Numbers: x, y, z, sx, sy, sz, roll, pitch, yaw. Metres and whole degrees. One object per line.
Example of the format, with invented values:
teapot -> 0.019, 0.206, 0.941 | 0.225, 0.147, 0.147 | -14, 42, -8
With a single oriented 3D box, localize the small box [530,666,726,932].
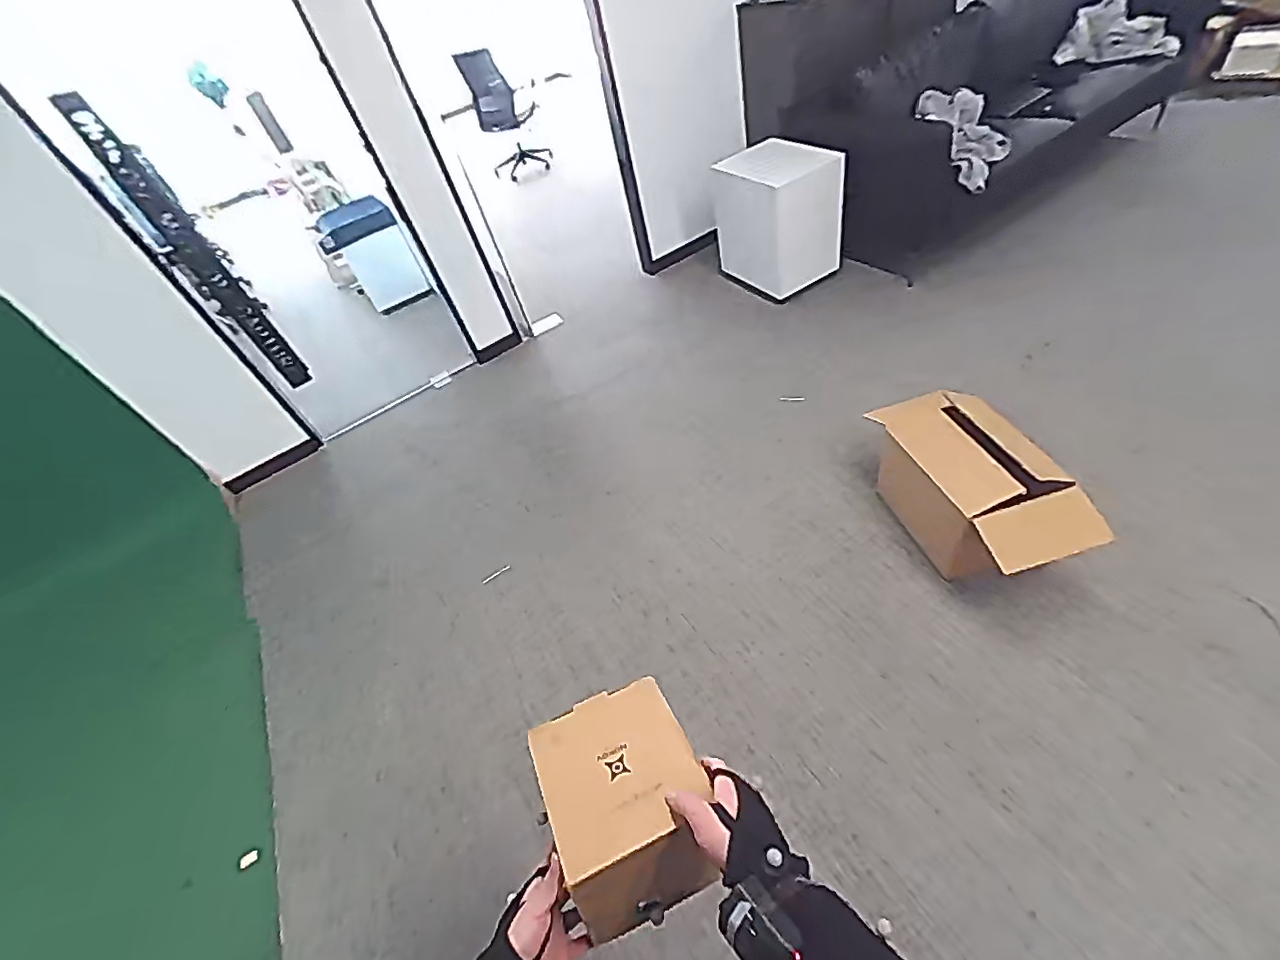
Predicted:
small box -> -0.014, 0.358, 0.620 | 0.168, 0.176, 0.179 | -18, 34, -13
